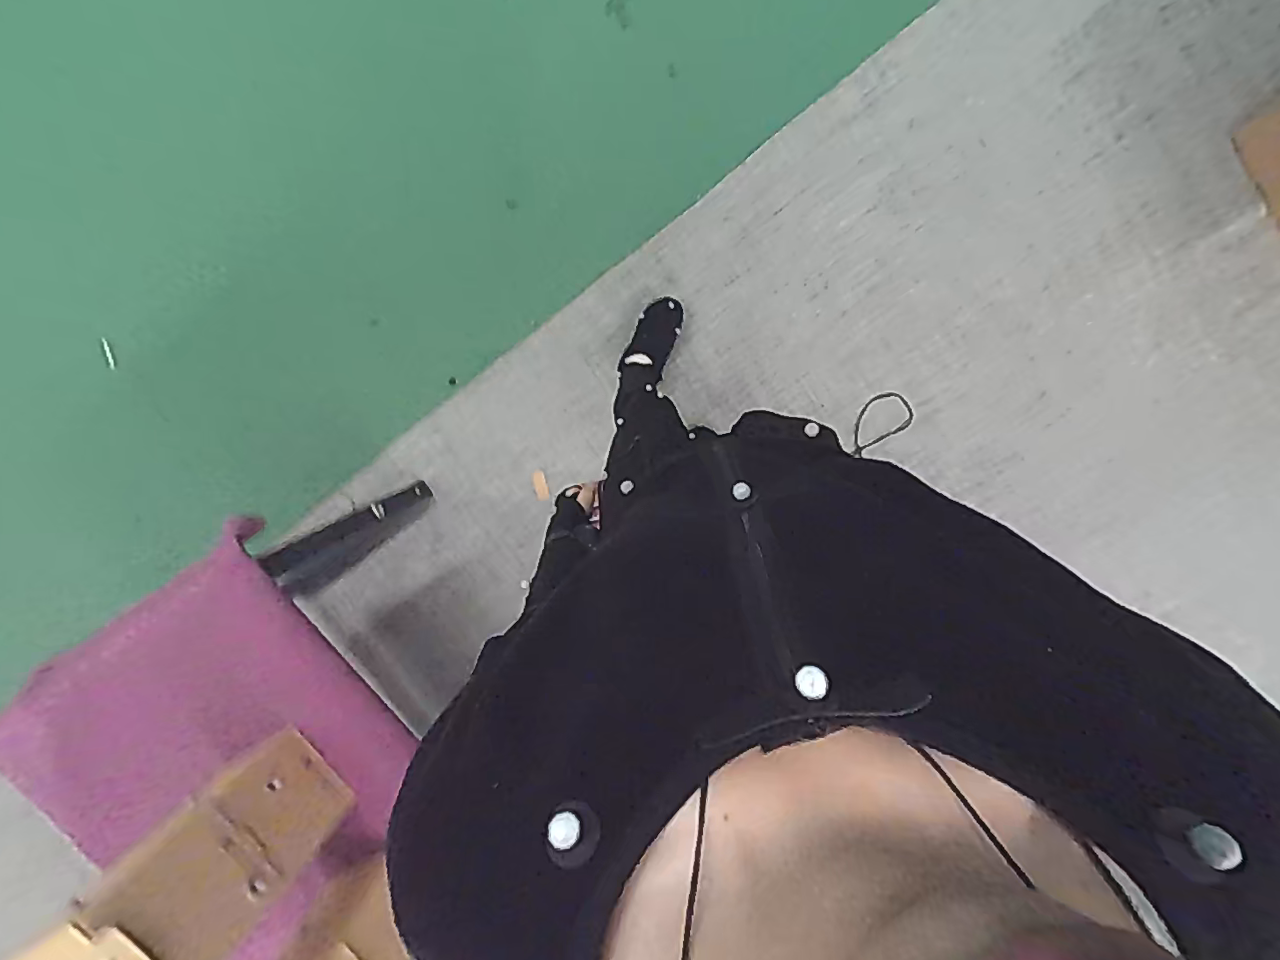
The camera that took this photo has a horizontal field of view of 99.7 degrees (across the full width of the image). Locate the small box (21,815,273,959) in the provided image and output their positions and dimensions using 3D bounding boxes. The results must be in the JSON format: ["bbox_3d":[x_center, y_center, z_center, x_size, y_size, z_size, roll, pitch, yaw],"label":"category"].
[{"bbox_3d":[-0.608,0.569,0.675,0.179,0.176,0.168,-35,96,12],"label":"small box"}]

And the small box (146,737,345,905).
[{"bbox_3d":[-0.596,0.541,0.836,0.179,0.176,0.168,-34,97,11],"label":"small box"}]
